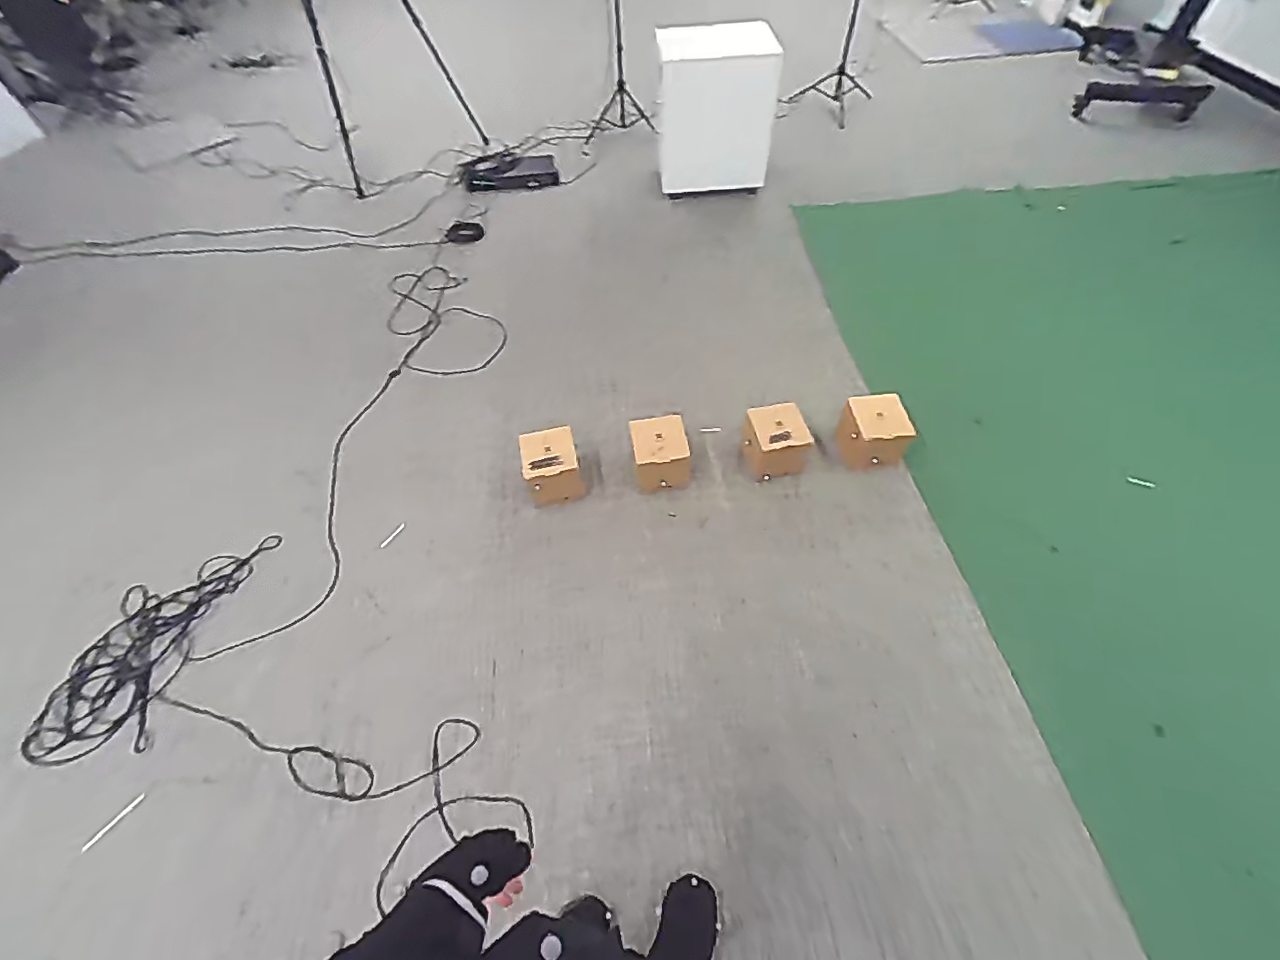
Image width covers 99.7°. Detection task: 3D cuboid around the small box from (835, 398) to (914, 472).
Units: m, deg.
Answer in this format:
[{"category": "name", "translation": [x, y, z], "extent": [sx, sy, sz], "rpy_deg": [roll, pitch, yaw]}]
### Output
[{"category": "small box", "translation": [0.758, -0.146, 1.773], "extent": [0.168, 0.176, 0.179], "rpy_deg": [-5, 56, -1]}]

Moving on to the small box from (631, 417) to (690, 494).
[{"category": "small box", "translation": [0.064, -0.077, 1.738], "extent": [0.168, 0.176, 0.179], "rpy_deg": [-8, 56, -3]}]

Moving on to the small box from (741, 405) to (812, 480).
[{"category": "small box", "translation": [0.436, -0.115, 1.757], "extent": [0.168, 0.176, 0.179], "rpy_deg": [-9, 55, -5]}]
